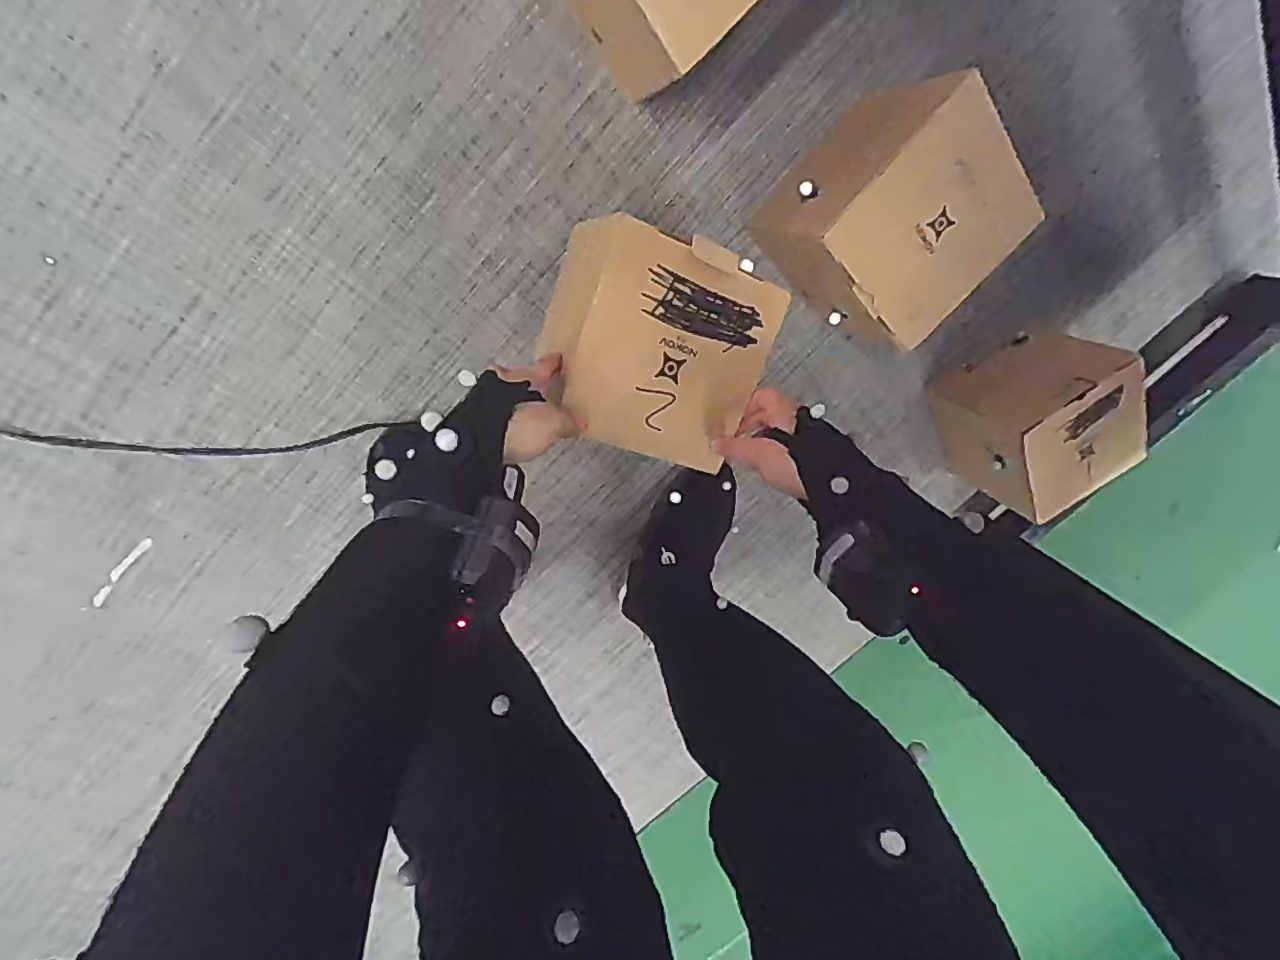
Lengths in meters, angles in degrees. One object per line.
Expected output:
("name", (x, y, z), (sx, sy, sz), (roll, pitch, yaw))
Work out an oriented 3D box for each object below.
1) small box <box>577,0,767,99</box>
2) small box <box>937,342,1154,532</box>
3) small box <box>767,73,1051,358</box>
("small box", (0.032, -0.431, 0.407), (0.179, 0.176, 0.168), (-41, 120, 8))
("small box", (0.541, -0.069, 0.737), (0.168, 0.176, 0.179), (-33, 122, 4))
("small box", (0.256, -0.261, 0.557), (0.168, 0.176, 0.179), (37, 102, -29))
